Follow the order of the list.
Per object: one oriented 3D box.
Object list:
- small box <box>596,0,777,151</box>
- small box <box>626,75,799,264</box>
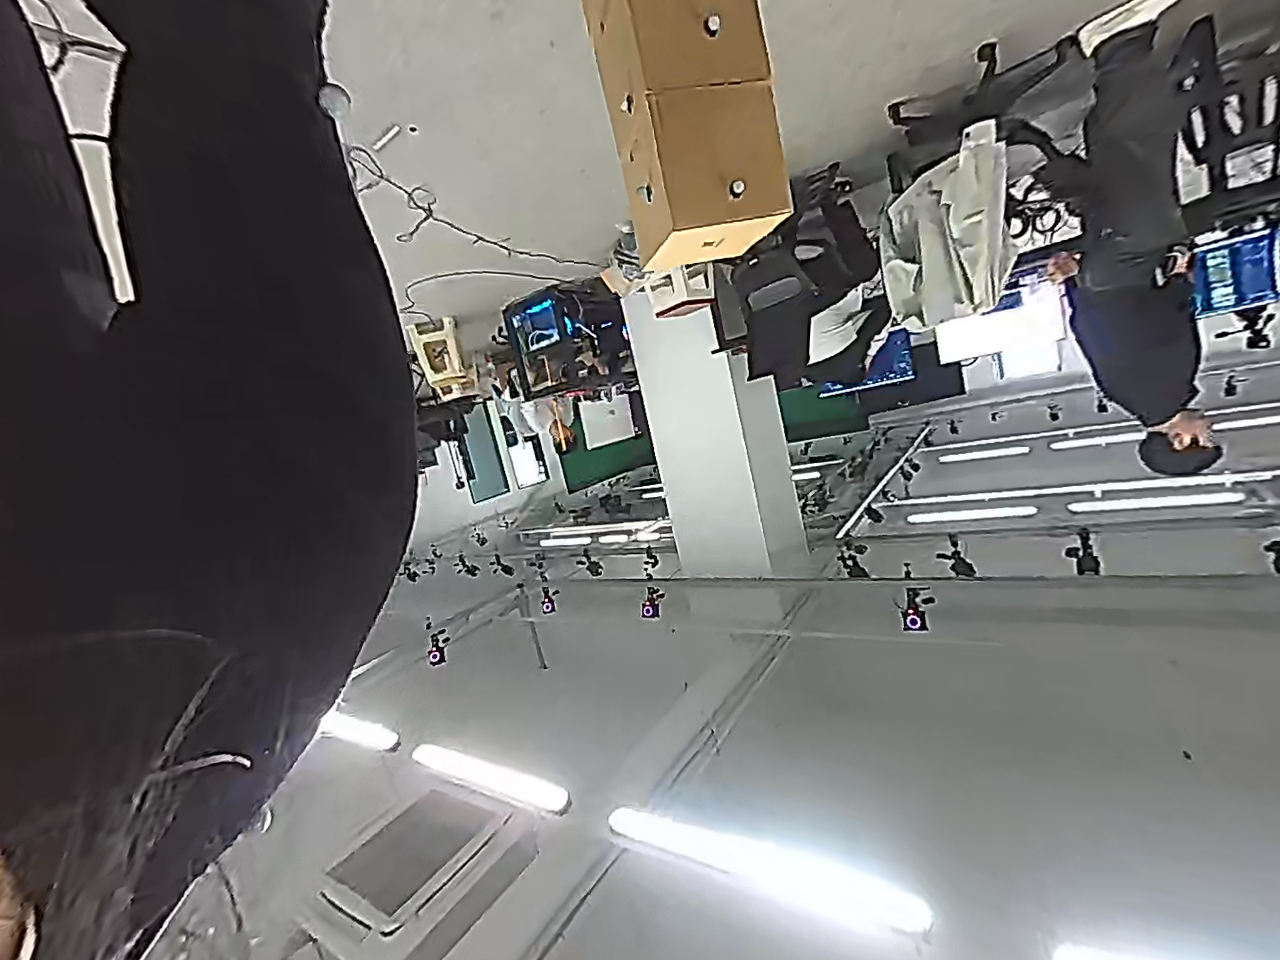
[{"bbox_3d":[0.055,-0.583,0.731,0.179,0.176,0.168,-16,-172,-12],"label":"small box"},{"bbox_3d":[0.090,-0.426,0.757,0.179,0.176,0.168,-15,-172,-12],"label":"small box"}]
